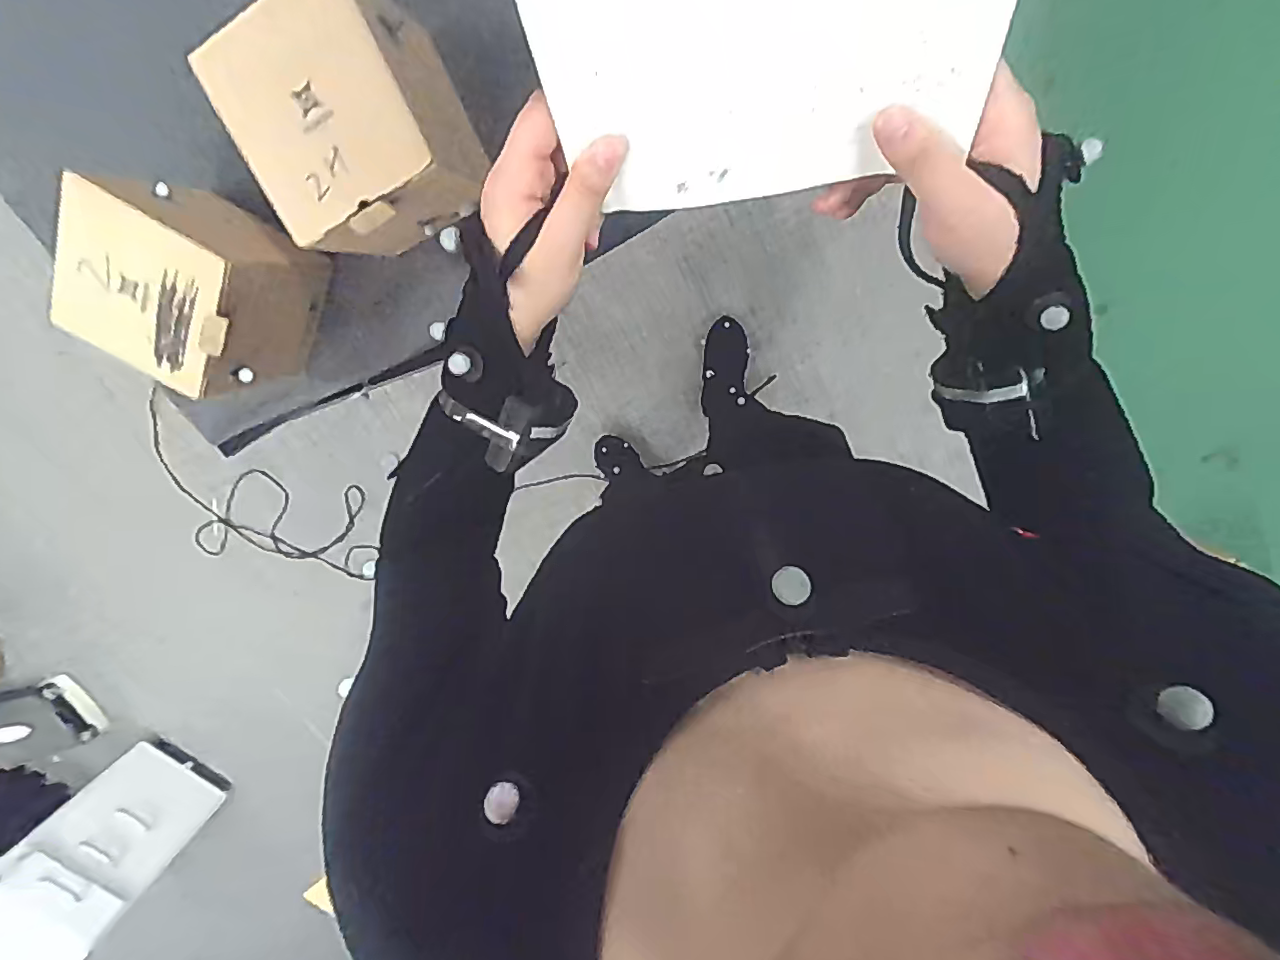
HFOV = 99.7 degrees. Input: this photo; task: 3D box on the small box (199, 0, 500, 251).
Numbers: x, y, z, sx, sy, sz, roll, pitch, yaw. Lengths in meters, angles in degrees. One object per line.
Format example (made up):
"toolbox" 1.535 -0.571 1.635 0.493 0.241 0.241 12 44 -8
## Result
"small box" -0.276 -0.356 0.556 0.168 0.176 0.179 -22 106 16
